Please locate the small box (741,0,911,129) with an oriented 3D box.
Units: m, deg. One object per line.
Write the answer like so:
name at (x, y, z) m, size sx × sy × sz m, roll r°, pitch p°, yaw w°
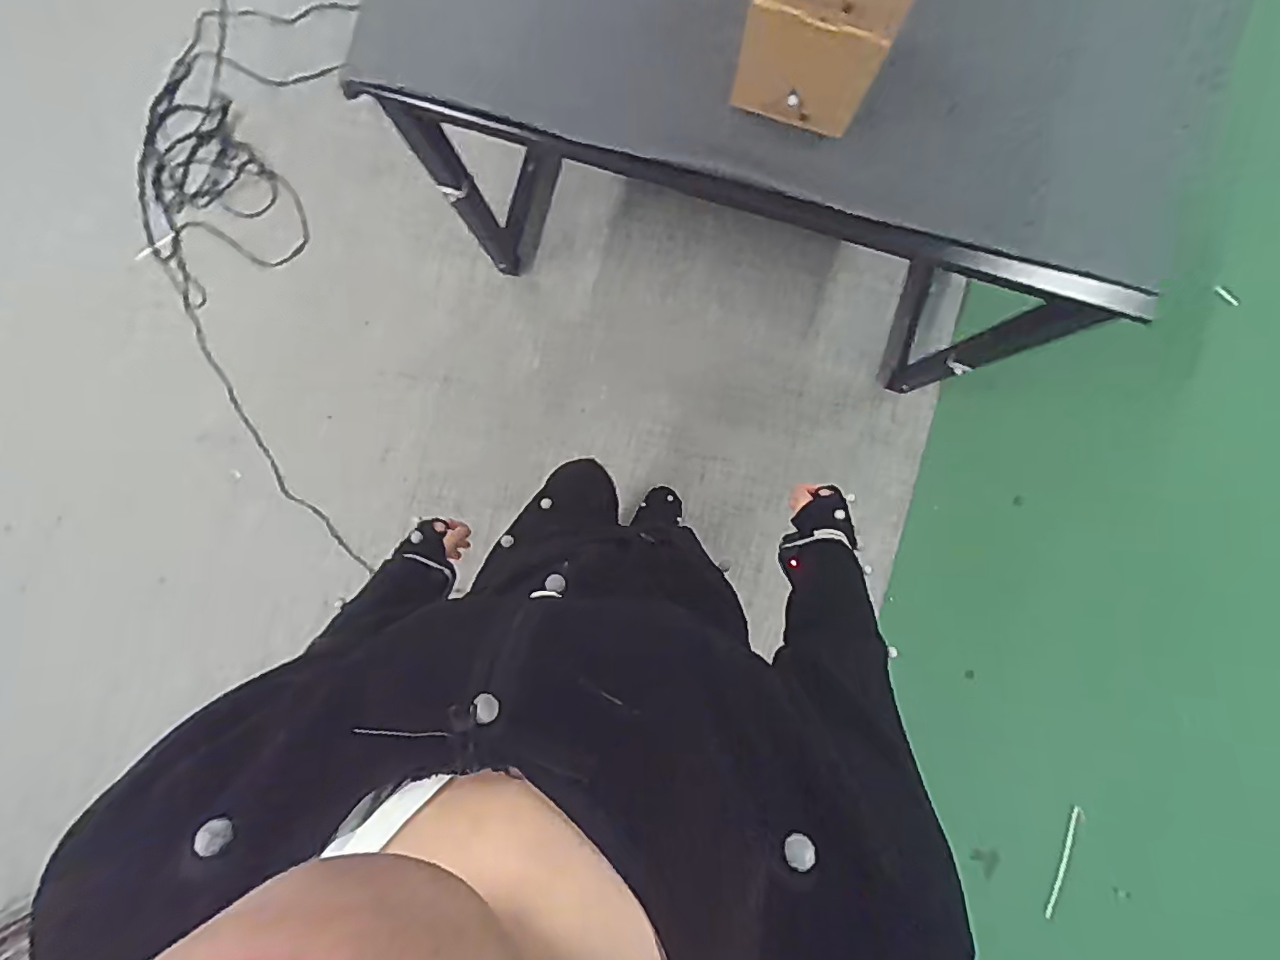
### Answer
small box at (0.237, -0.595, 0.676) m, size 0.168 × 0.176 × 0.179 m, roll 18°, pitch 90°, yaw 2°
